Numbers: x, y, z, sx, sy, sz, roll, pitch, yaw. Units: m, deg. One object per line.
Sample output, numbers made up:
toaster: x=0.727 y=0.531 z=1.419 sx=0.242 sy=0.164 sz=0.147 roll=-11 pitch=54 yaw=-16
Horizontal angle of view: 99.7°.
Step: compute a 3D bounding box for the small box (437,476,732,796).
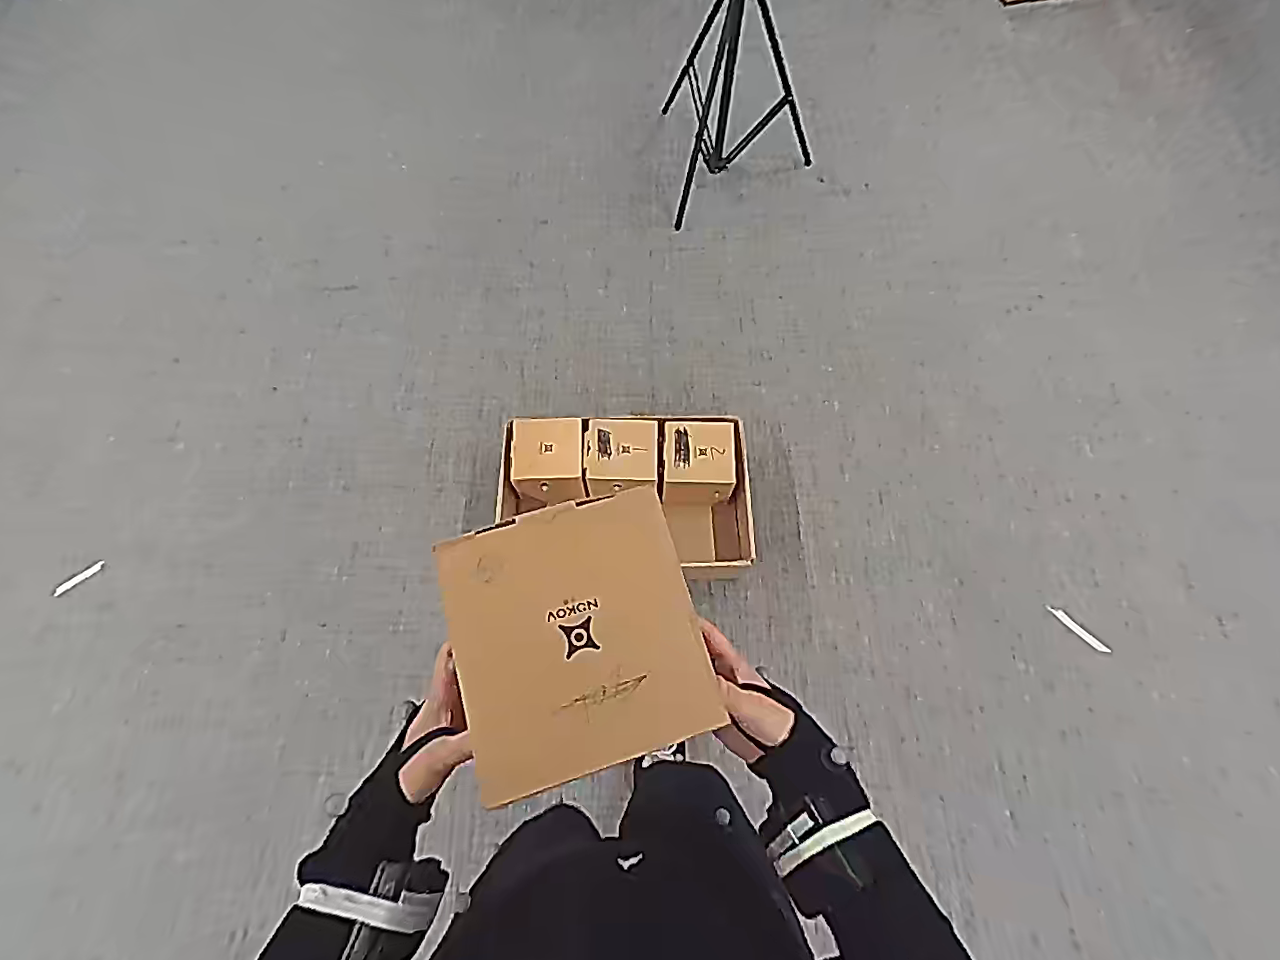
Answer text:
small box: x=-0.048 y=0.120 z=0.442 sx=0.168 sy=0.176 sz=0.179 roll=-16 pitch=75 yaw=-10
